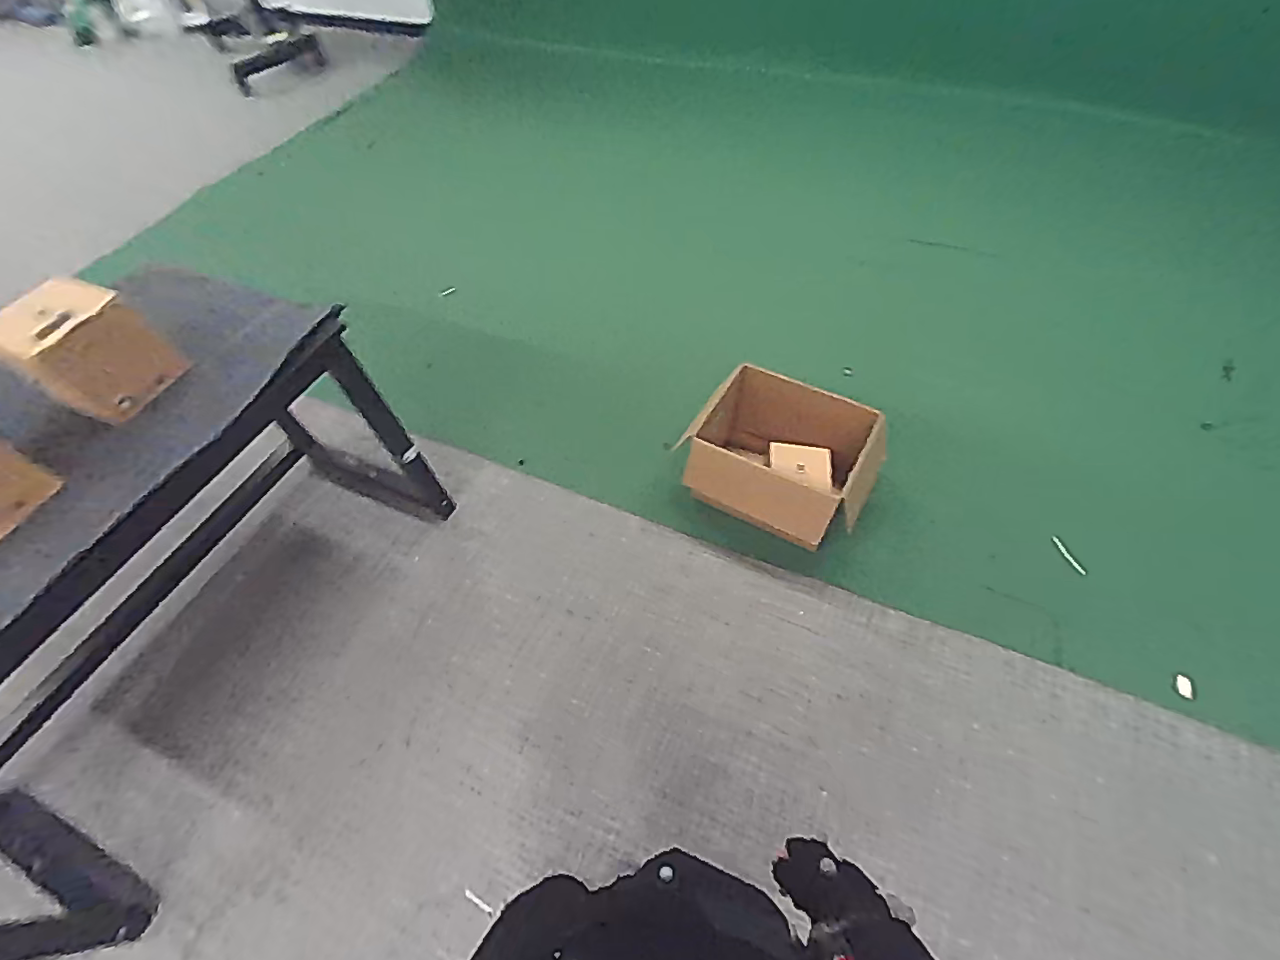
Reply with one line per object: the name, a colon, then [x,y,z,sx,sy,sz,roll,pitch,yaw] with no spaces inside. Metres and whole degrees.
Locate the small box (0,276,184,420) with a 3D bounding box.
small box: [-0.991,-0.230,0.969,0.179,0.176,0.168,17,60,15]

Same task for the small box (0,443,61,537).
small box: [-1.087,-0.003,0.830,0.179,0.176,0.168,18,59,14]
